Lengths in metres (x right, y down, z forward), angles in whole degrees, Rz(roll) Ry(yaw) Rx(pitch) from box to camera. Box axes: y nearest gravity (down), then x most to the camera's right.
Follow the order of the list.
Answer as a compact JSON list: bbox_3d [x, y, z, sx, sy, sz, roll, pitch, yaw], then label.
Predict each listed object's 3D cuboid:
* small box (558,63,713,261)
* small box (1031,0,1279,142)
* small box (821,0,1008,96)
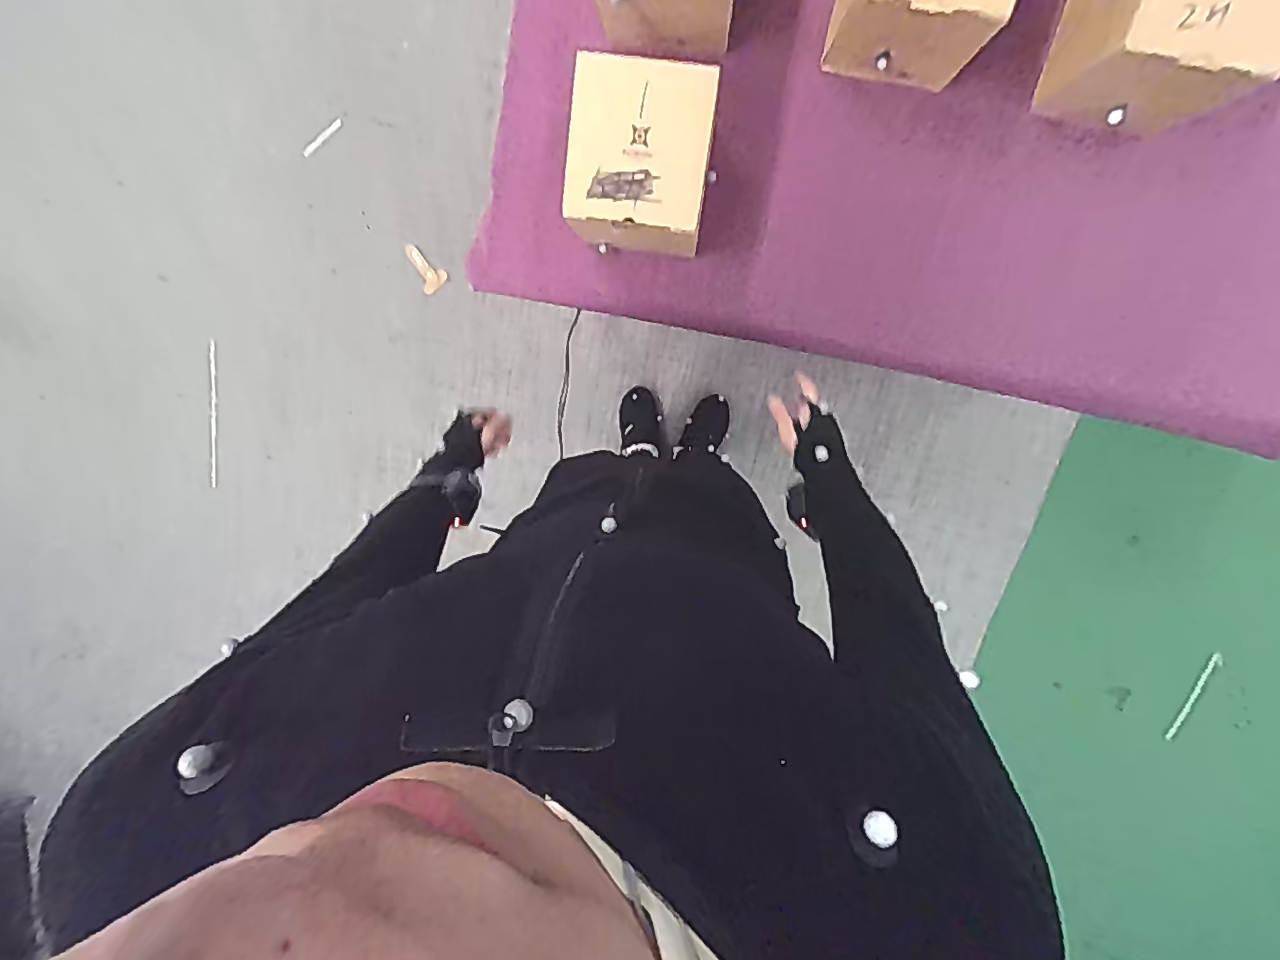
[{"bbox_3d":[0.000,-0.401,0.714,0.168,0.176,0.179,9,102,3],"label":"small box"},{"bbox_3d":[0.600,-0.527,0.621,0.168,0.176,0.179,14,105,3],"label":"small box"},{"bbox_3d":[0.327,-0.597,0.636,0.168,0.176,0.179,12,106,3],"label":"small box"}]
